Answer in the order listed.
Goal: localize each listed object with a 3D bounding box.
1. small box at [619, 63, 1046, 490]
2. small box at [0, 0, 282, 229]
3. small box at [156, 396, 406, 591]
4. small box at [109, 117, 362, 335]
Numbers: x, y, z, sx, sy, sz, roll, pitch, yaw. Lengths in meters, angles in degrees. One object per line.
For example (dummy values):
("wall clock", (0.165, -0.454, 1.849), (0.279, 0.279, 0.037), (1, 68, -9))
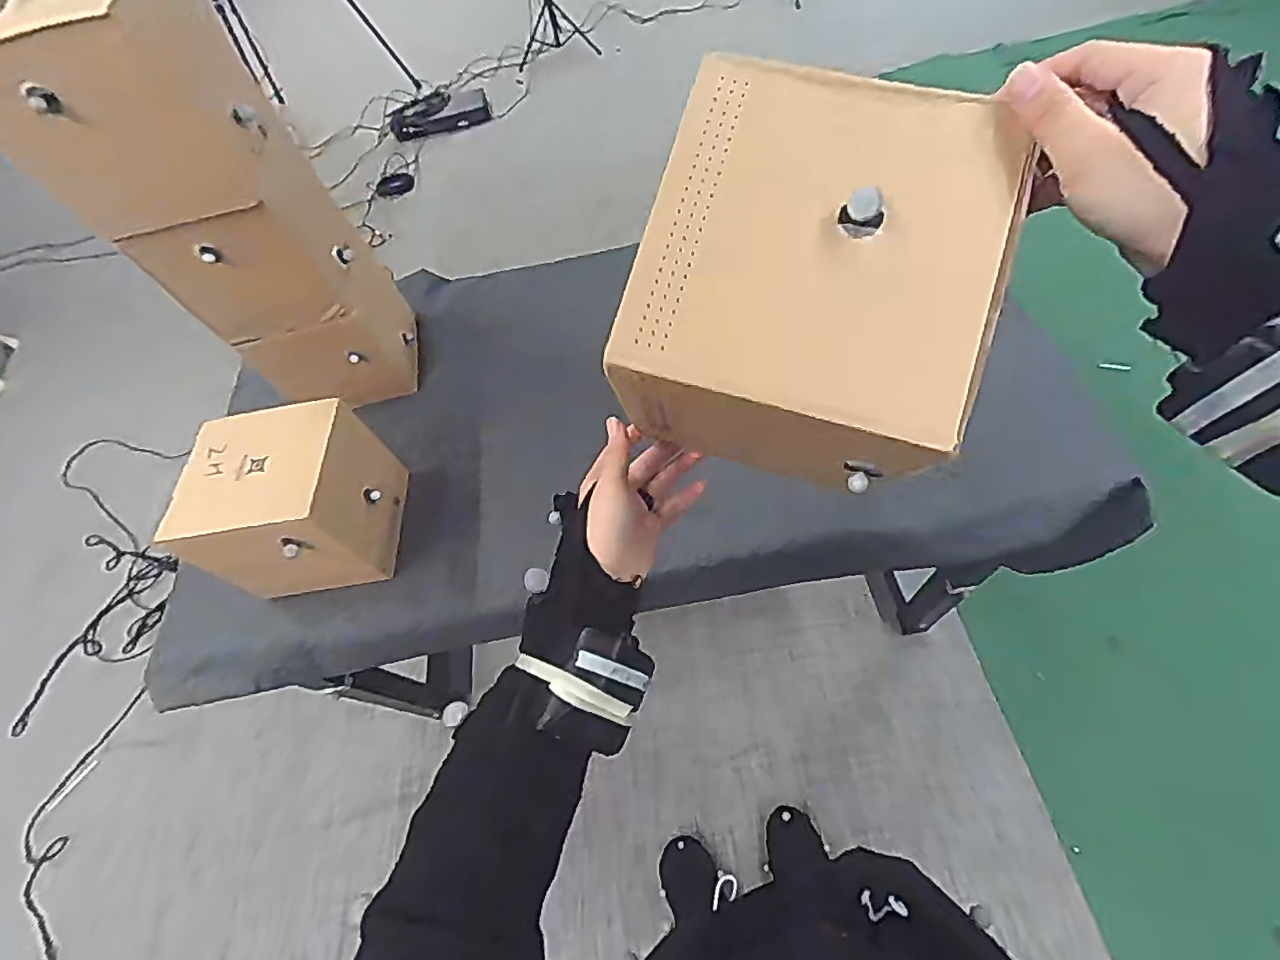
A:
("small box", (0.096, -0.108, 0.332), (0.176, 0.168, 0.179), (16, 84, 10))
("small box", (-0.501, -0.377, 0.529), (0.179, 0.176, 0.168), (-12, 62, 1))
("small box", (-0.415, 0.023, 0.665), (0.179, 0.176, 0.168), (-9, 57, 4))
("small box", (-0.483, -0.307, 0.677), (0.179, 0.176, 0.168), (-14, 62, 0))
